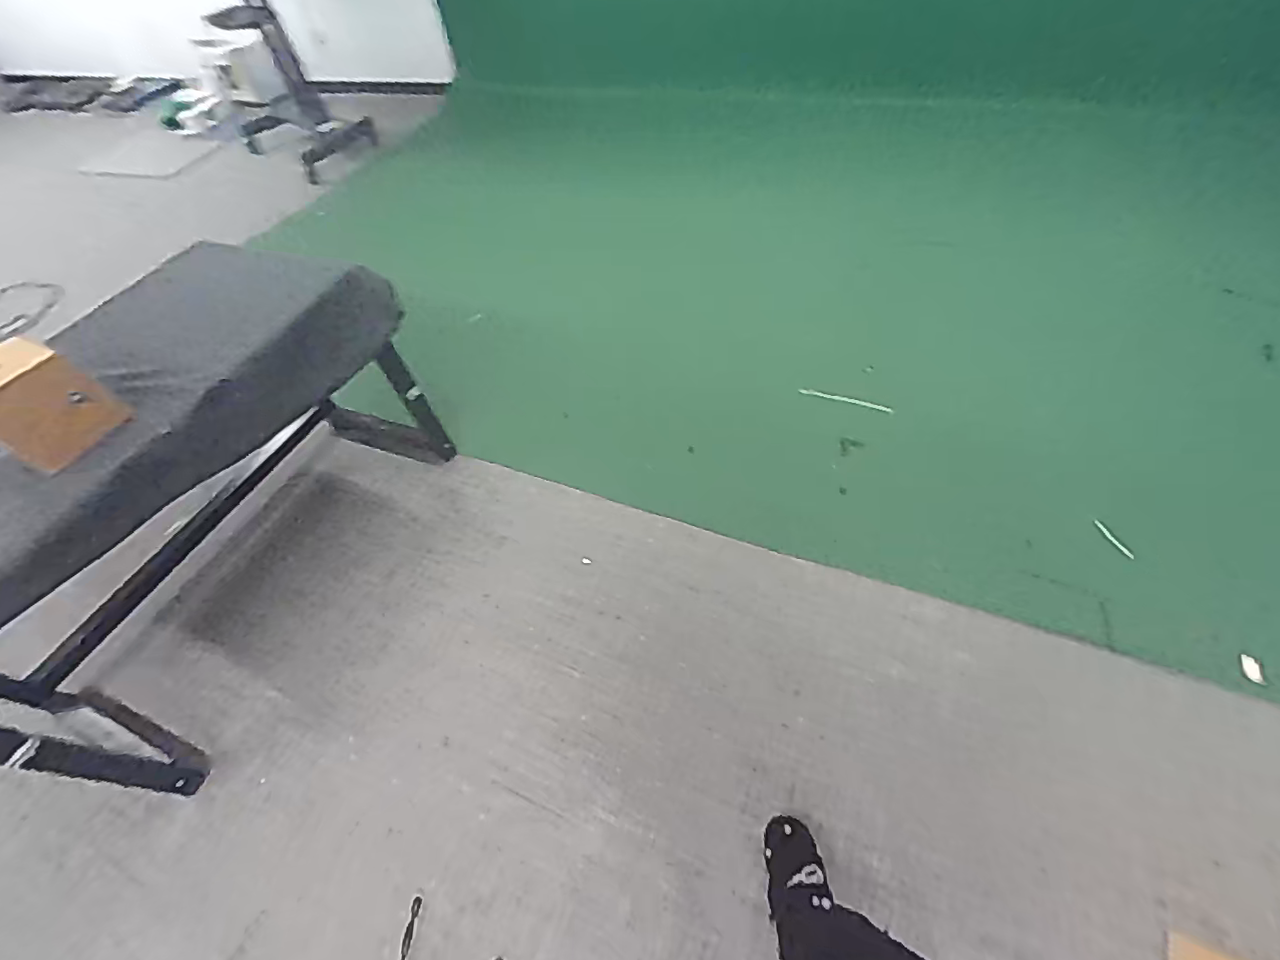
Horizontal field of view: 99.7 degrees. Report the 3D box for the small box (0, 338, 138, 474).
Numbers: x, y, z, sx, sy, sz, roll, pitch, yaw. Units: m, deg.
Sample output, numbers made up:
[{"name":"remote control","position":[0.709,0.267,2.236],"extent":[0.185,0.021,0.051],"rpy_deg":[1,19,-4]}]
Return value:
[{"name":"small box","position":[-1.144,-0.143,1.051],"extent":[0.168,0.176,0.179],"rpy_deg":[17,59,22]}]
